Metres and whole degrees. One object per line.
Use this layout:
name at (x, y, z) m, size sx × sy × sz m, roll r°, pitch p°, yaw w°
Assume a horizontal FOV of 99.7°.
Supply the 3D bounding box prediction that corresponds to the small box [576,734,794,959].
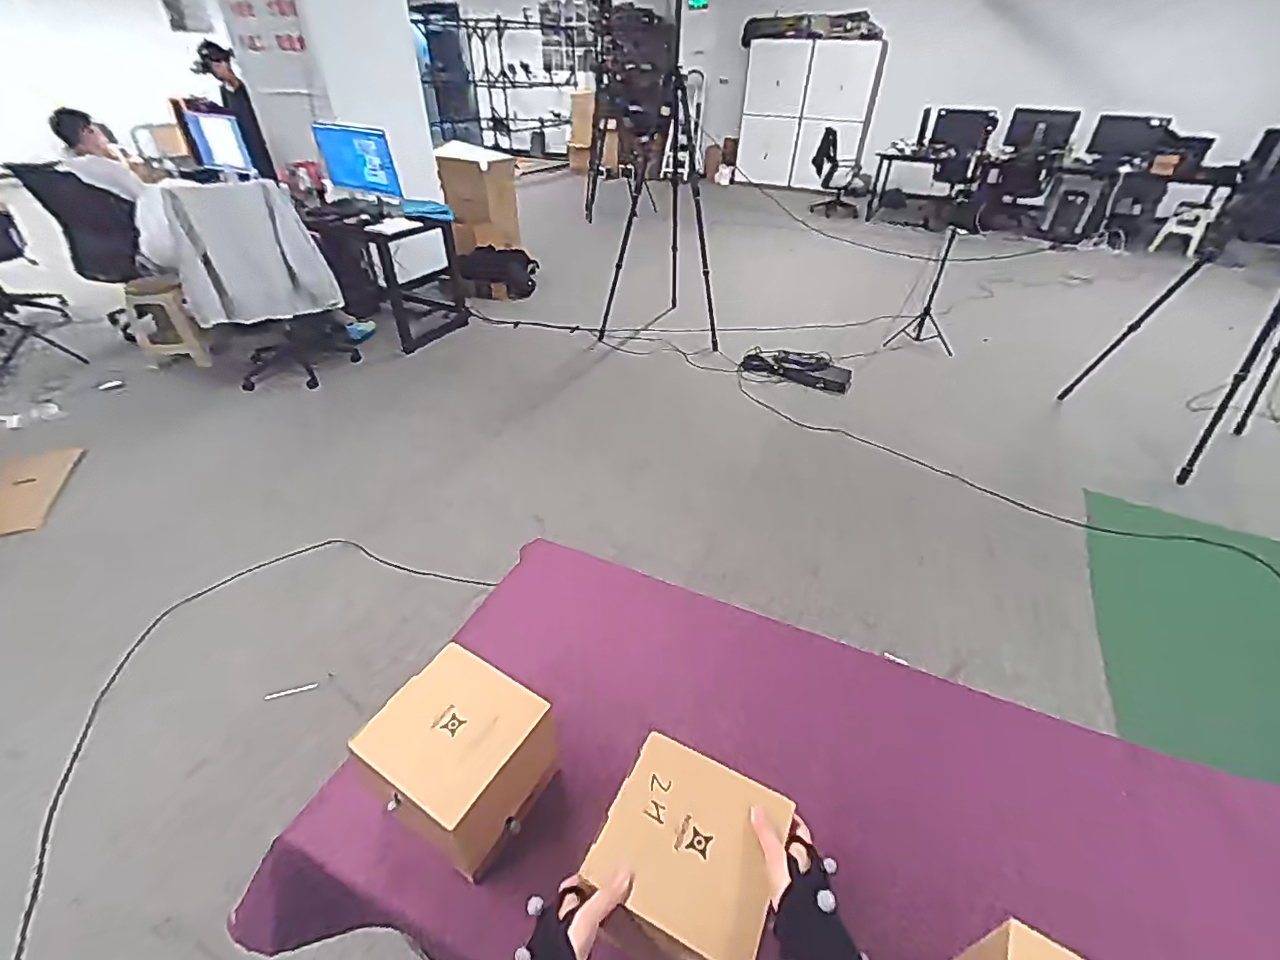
small box at (0.049, 0.430, 0.598) m, size 0.179 × 0.176 × 0.168 m, roll 18°, pitch 40°, yaw 21°

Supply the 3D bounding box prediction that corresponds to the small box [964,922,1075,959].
small box at (0.368, 0.543, 0.462) m, size 0.179 × 0.176 × 0.168 m, roll 21°, pitch 41°, yaw 24°

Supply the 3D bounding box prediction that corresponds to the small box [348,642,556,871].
small box at (-0.227, 0.351, 0.691) m, size 0.179 × 0.176 × 0.168 m, roll 22°, pitch 42°, yaw 24°
